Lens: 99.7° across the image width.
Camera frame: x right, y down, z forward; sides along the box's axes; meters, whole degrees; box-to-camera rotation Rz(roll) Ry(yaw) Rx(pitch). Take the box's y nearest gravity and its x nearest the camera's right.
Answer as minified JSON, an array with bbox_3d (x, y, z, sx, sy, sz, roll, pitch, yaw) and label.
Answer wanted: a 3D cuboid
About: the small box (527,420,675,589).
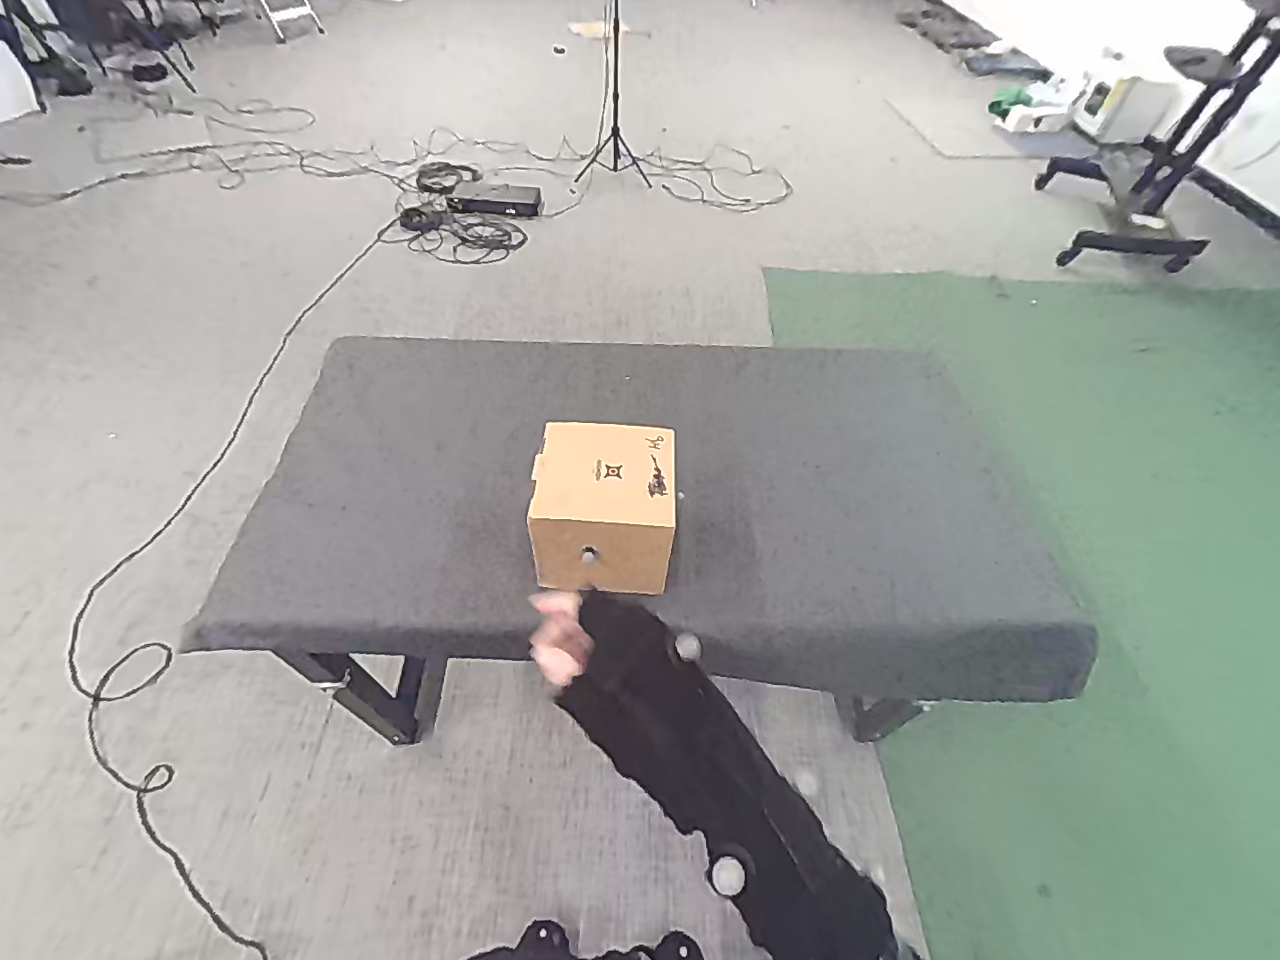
[{"bbox_3d":[-0.047,0.038,0.747,0.179,0.176,0.168,4,50,0],"label":"small box"}]
